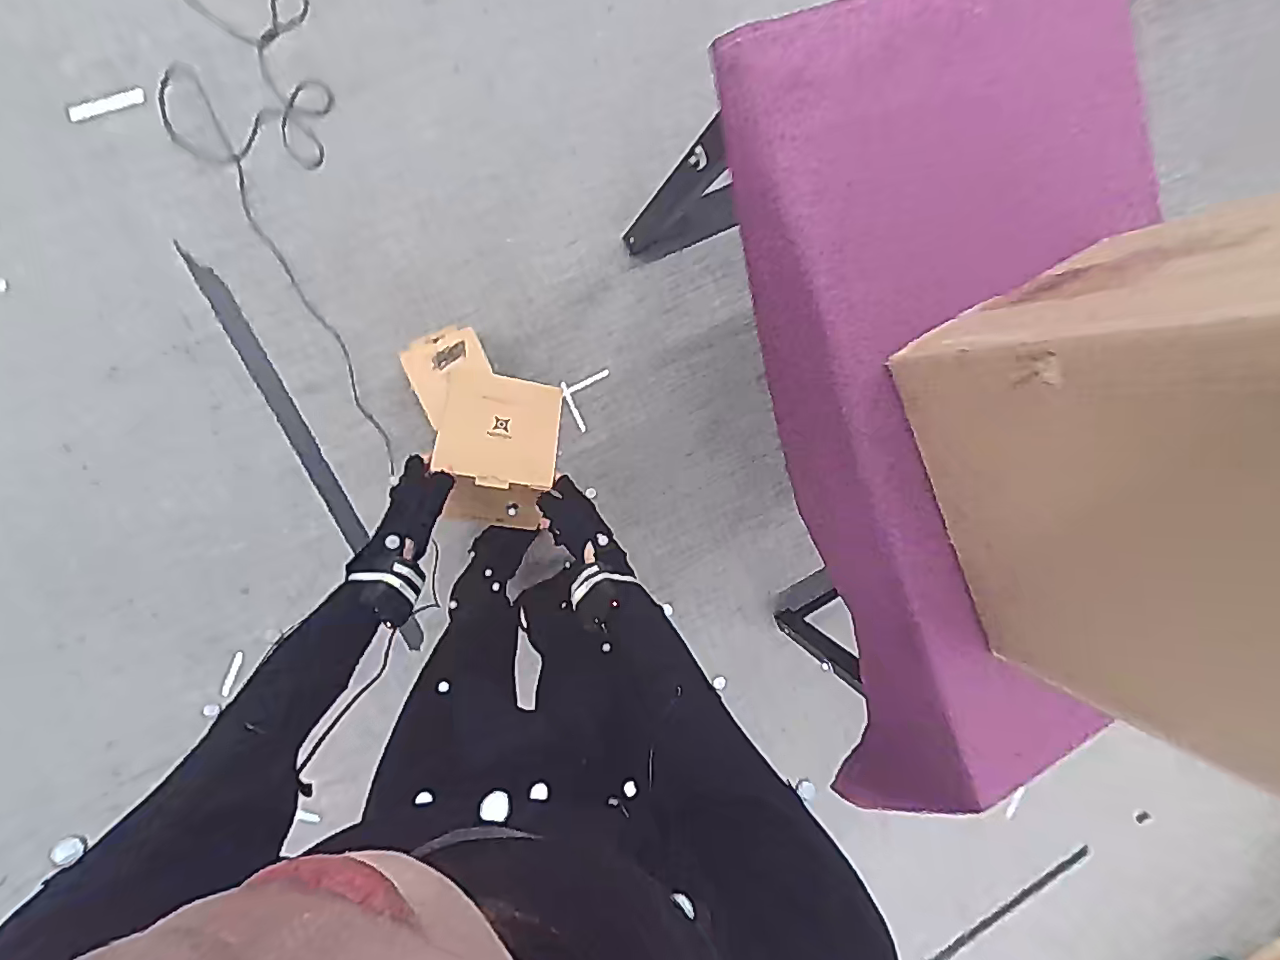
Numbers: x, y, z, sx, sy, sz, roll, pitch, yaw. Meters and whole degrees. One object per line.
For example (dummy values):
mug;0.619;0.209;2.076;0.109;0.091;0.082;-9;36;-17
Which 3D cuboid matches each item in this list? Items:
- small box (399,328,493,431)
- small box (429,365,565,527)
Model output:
small box;-0.415;-0.221;1.214;0.168;0.176;0.179;-24;103;-10
small box;-0.216;-0.041;0.820;0.168;0.176;0.179;9;62;-17
